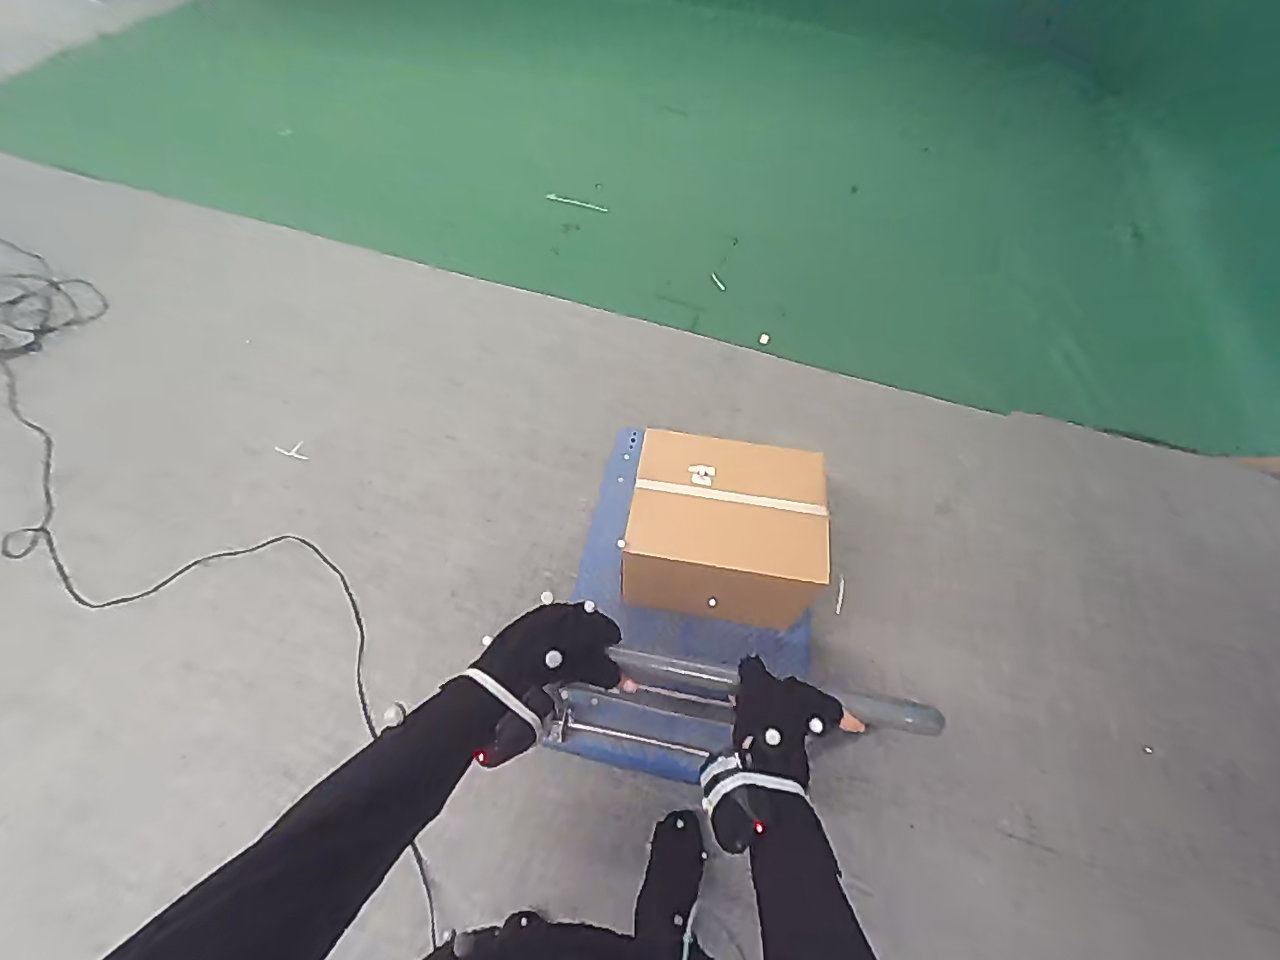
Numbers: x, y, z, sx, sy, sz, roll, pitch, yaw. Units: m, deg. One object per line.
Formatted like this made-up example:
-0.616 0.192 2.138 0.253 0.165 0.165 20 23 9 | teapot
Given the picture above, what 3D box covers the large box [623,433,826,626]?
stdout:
0.182 0.125 1.261 0.408 0.320 0.320 8 57 3 | large box
